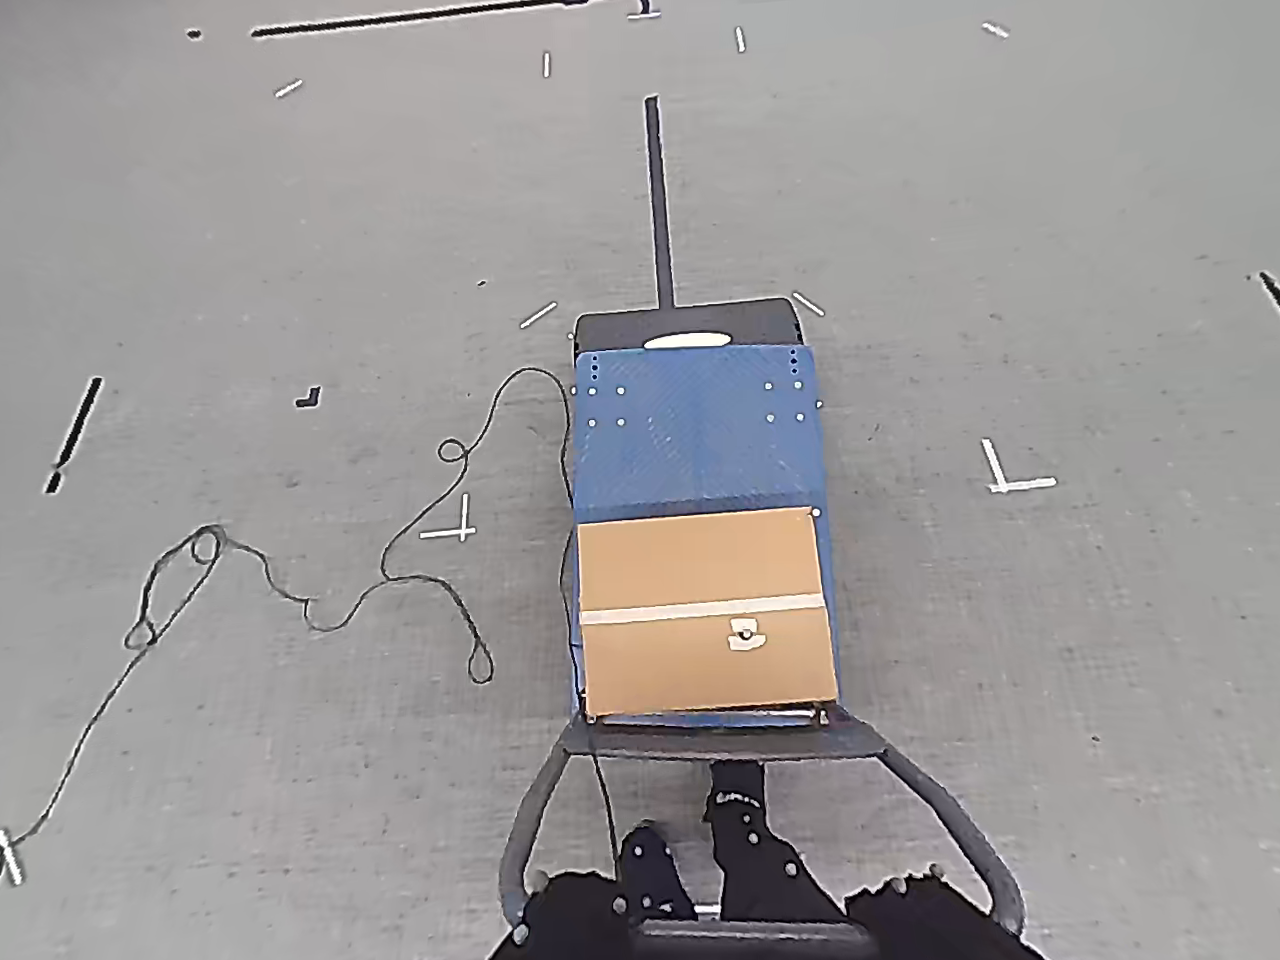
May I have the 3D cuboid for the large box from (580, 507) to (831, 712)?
[{"bbox_3d":[0.109,0.246,1.065,0.408,0.320,0.320,-5,79,1],"label":"large box"}]
